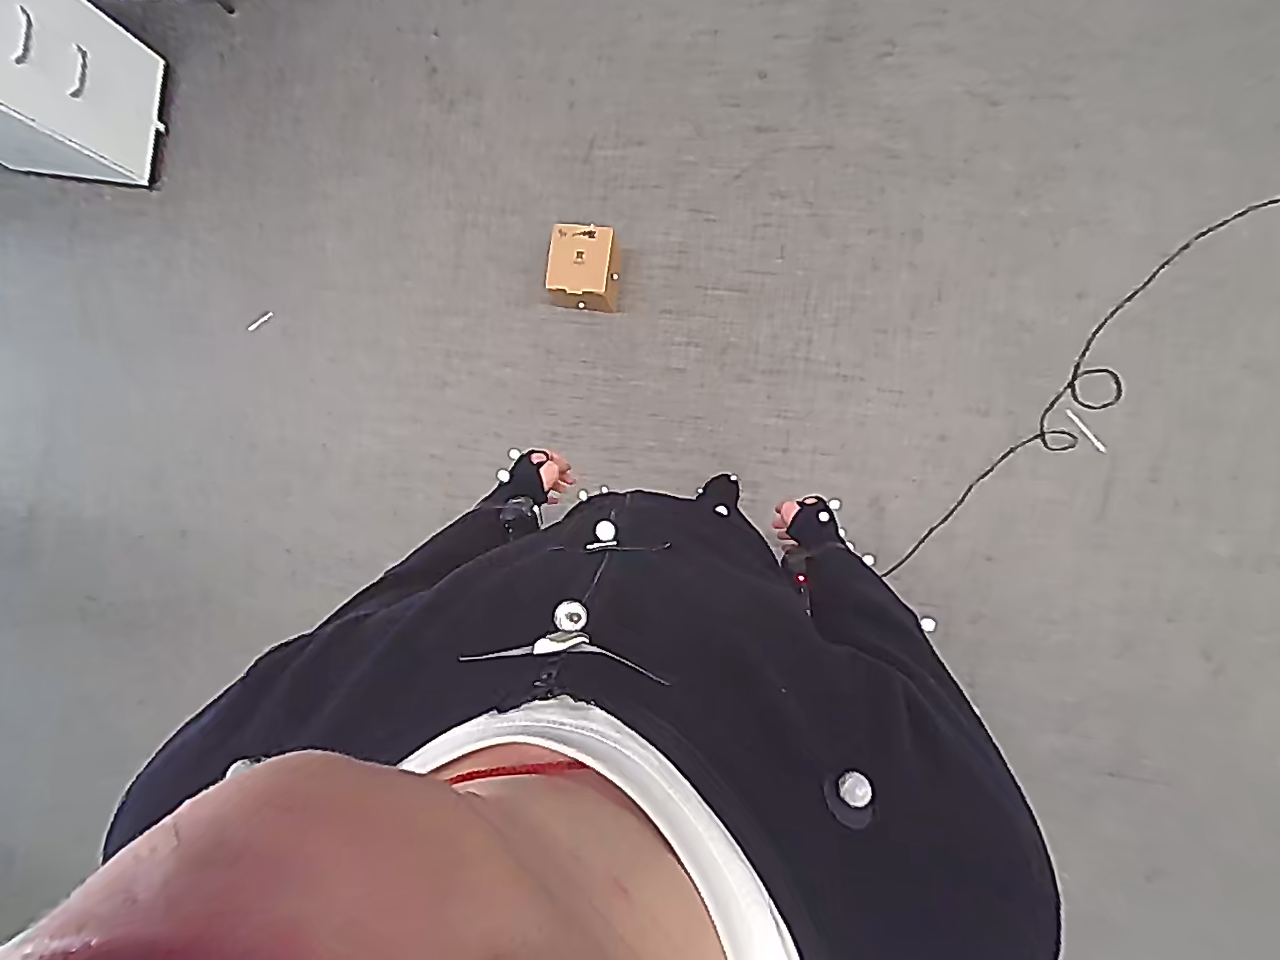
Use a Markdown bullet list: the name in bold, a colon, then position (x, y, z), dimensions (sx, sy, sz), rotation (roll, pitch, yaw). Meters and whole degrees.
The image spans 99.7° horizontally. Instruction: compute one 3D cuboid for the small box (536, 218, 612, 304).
- **small box**: position (-0.178, -0.603, 1.506), dimensions (0.168, 0.176, 0.179), rotation (6, 91, 8)
